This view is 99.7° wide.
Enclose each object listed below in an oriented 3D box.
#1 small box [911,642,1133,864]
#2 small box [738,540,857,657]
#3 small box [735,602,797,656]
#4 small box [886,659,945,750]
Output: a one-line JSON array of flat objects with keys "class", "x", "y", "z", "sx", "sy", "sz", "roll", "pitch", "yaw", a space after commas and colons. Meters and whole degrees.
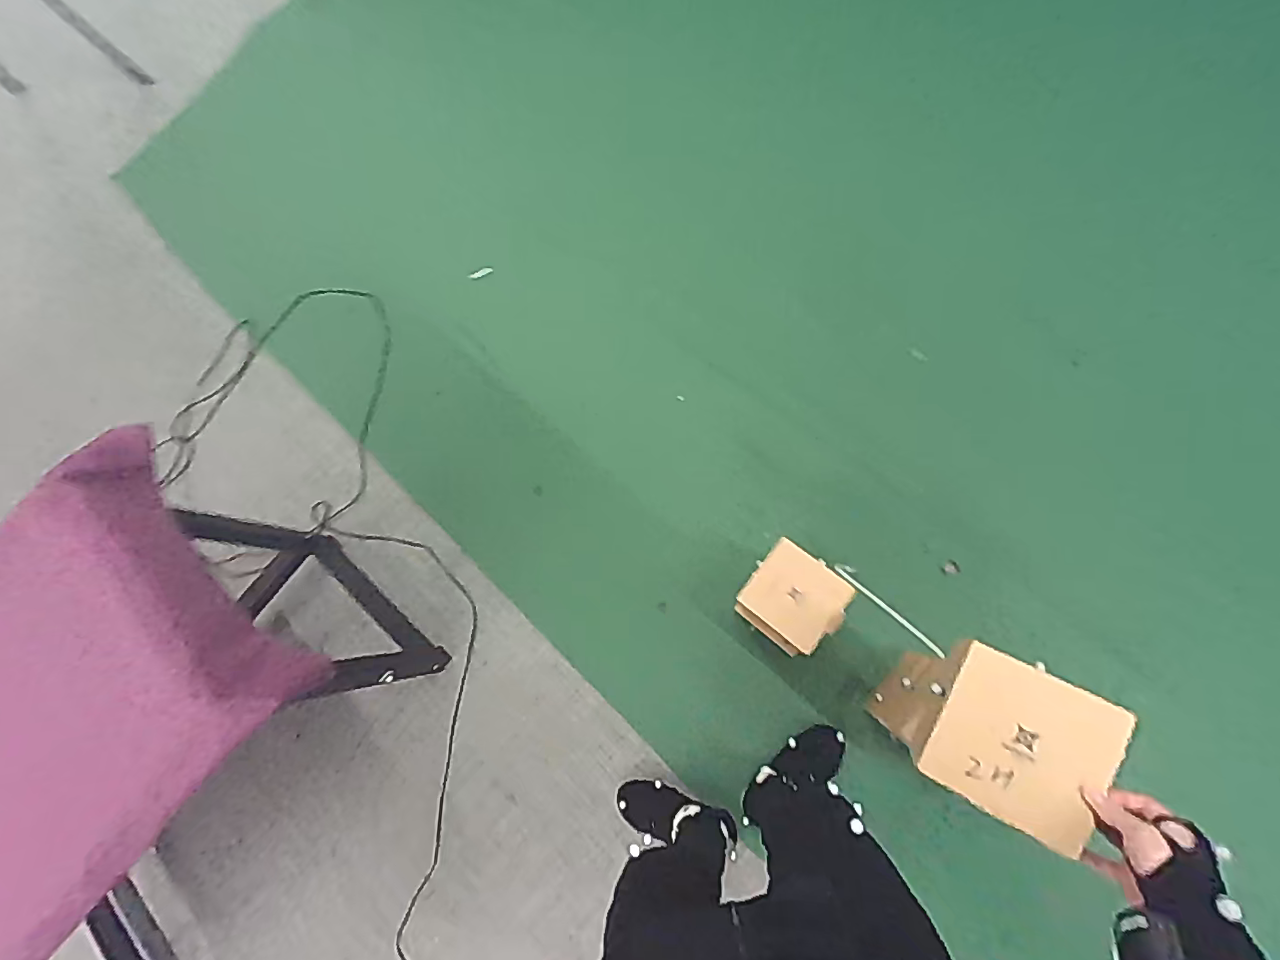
[{"class": "small box", "x": 0.462, "y": 0.324, "z": 0.688, "sx": 0.168, "sy": 0.176, "sz": 0.179, "roll": 26, "pitch": 86, "yaw": 27}, {"class": "small box", "x": 0.329, "y": 0.251, "z": 1.156, "sx": 0.179, "sy": 0.176, "sz": 0.168, "roll": 38, "pitch": 85, "yaw": 18}, {"class": "small box", "x": 0.350, "y": 0.302, "z": 1.309, "sx": 0.168, "sy": 0.176, "sz": 0.179, "roll": 38, "pitch": 85, "yaw": 18}, {"class": "small box", "x": 0.603, "y": 0.472, "z": 1.041, "sx": 0.168, "sy": 0.176, "sz": 0.179, "roll": 43, "pitch": 89, "yaw": 17}]
